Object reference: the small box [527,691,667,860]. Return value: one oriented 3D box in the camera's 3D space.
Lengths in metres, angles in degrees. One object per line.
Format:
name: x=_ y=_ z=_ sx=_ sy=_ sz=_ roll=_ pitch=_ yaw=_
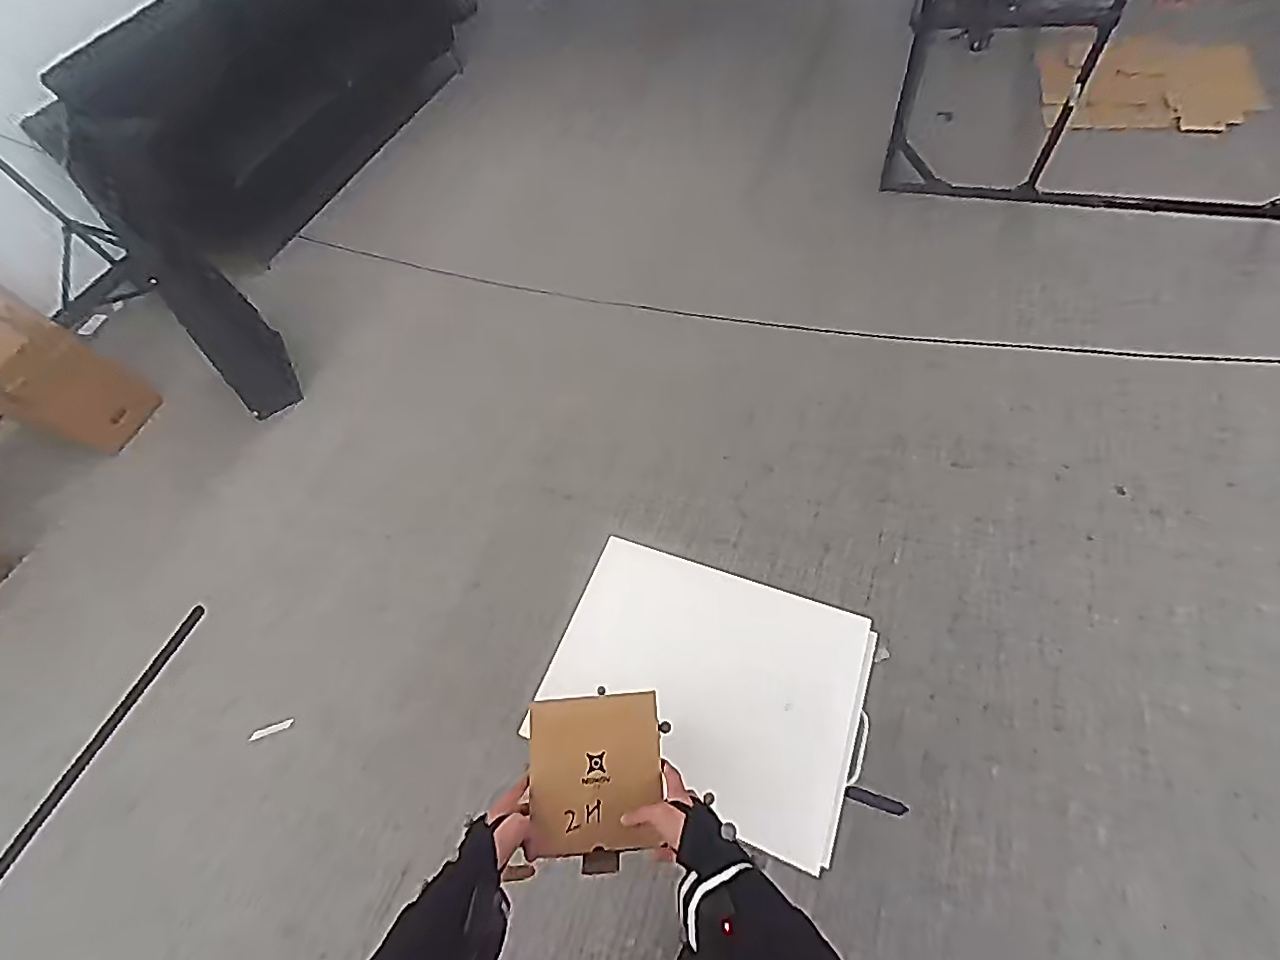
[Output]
small box: x=-0.054 y=0.390 z=0.736 sx=0.168 sy=0.176 sz=0.179 roll=-4 pitch=67 yaw=0
